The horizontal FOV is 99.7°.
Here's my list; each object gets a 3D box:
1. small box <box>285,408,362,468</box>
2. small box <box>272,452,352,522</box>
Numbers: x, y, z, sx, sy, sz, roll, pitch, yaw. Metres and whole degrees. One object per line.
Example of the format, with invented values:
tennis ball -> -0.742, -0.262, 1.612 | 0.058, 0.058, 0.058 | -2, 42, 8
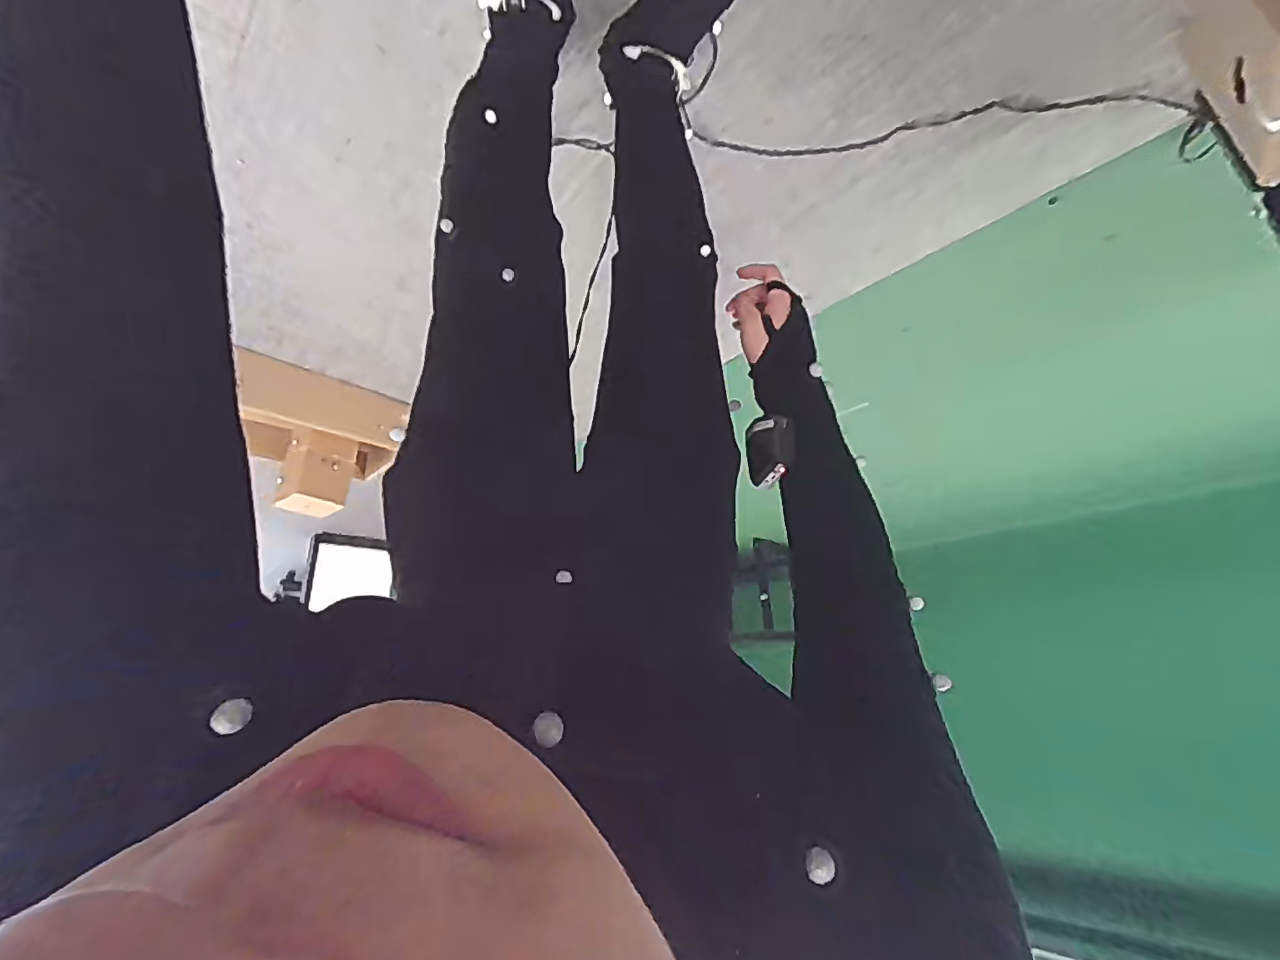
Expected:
small box -> -1.105, -0.125, 1.898 | 0.179, 0.176, 0.168 | -20, 149, 35
small box -> -1.106, 0.025, 1.835 | 0.179, 0.176, 0.168 | -18, 152, 32
